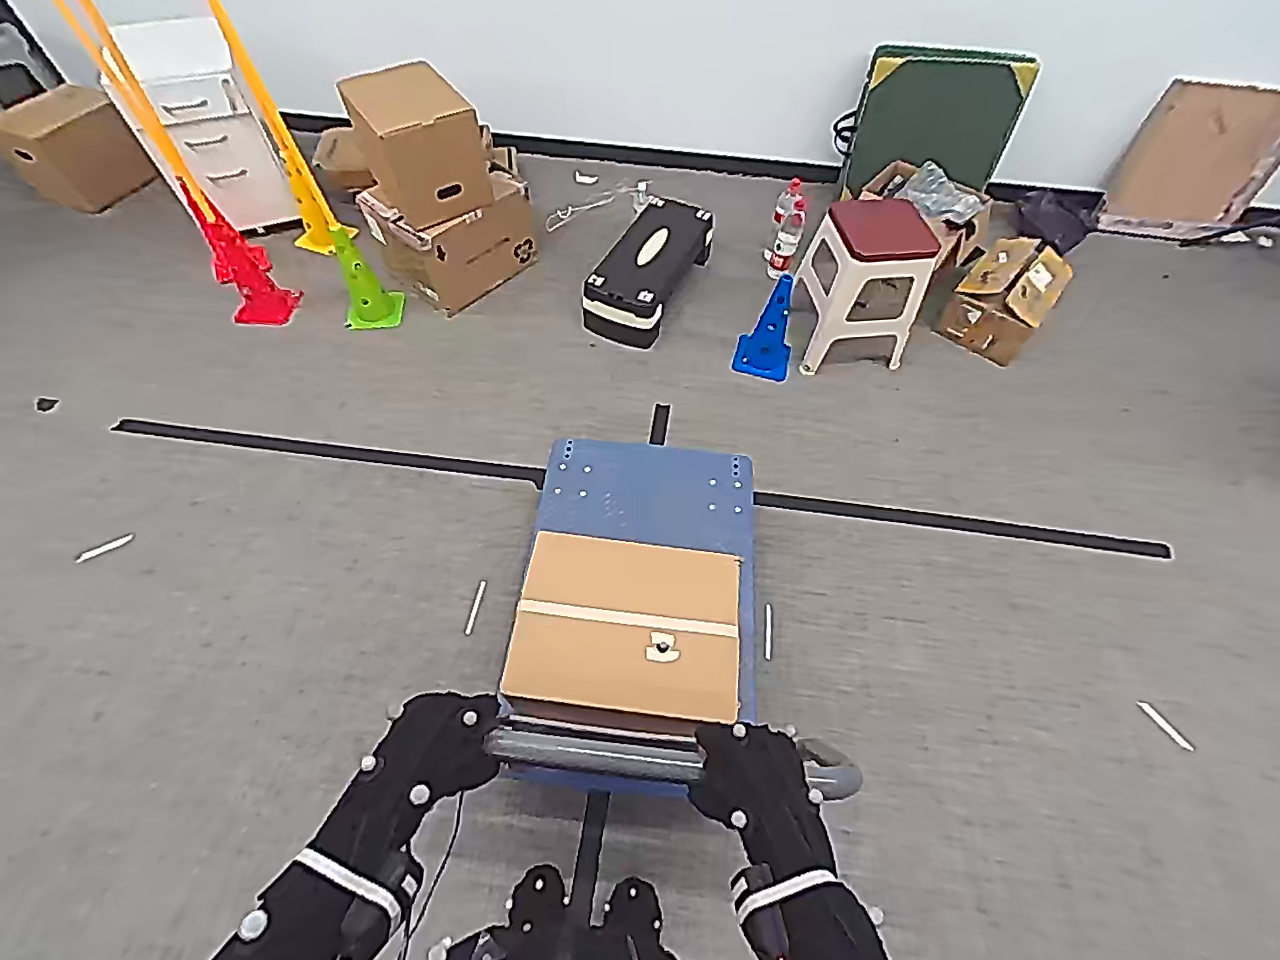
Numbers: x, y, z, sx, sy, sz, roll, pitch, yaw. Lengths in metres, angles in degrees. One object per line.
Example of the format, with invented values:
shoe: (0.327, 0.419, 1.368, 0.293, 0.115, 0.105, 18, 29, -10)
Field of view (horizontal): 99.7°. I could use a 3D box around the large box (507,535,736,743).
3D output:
large box: (-0.030, 0.341, 1.131, 0.408, 0.320, 0.320, 8, 57, 0)
